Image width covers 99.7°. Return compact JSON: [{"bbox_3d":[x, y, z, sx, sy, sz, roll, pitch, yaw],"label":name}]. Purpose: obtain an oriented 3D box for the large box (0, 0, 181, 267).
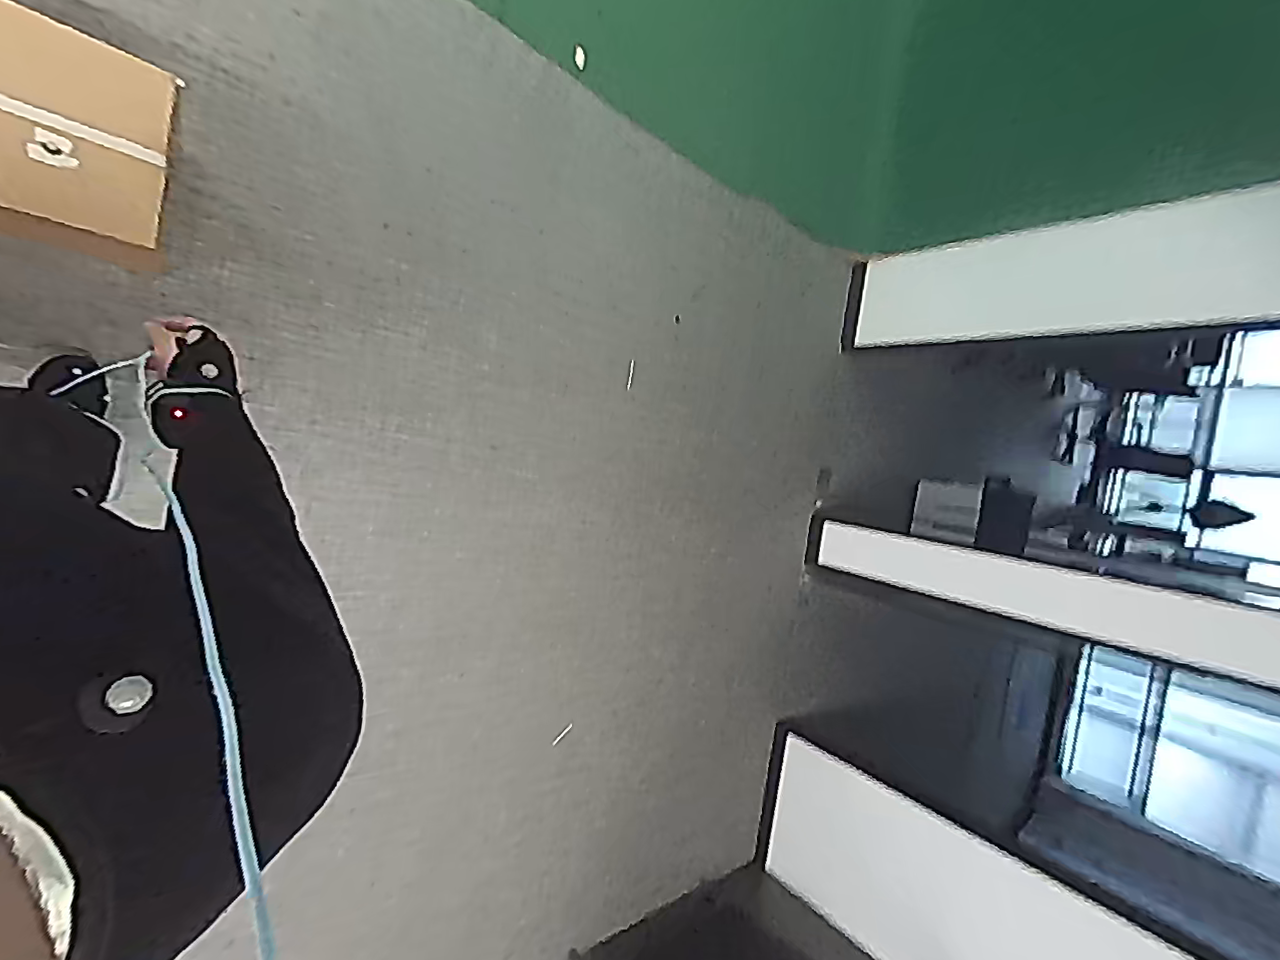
[{"bbox_3d":[-1.090,-0.617,0.952,0.408,0.320,0.320,7,93,-41],"label":"large box"}]
